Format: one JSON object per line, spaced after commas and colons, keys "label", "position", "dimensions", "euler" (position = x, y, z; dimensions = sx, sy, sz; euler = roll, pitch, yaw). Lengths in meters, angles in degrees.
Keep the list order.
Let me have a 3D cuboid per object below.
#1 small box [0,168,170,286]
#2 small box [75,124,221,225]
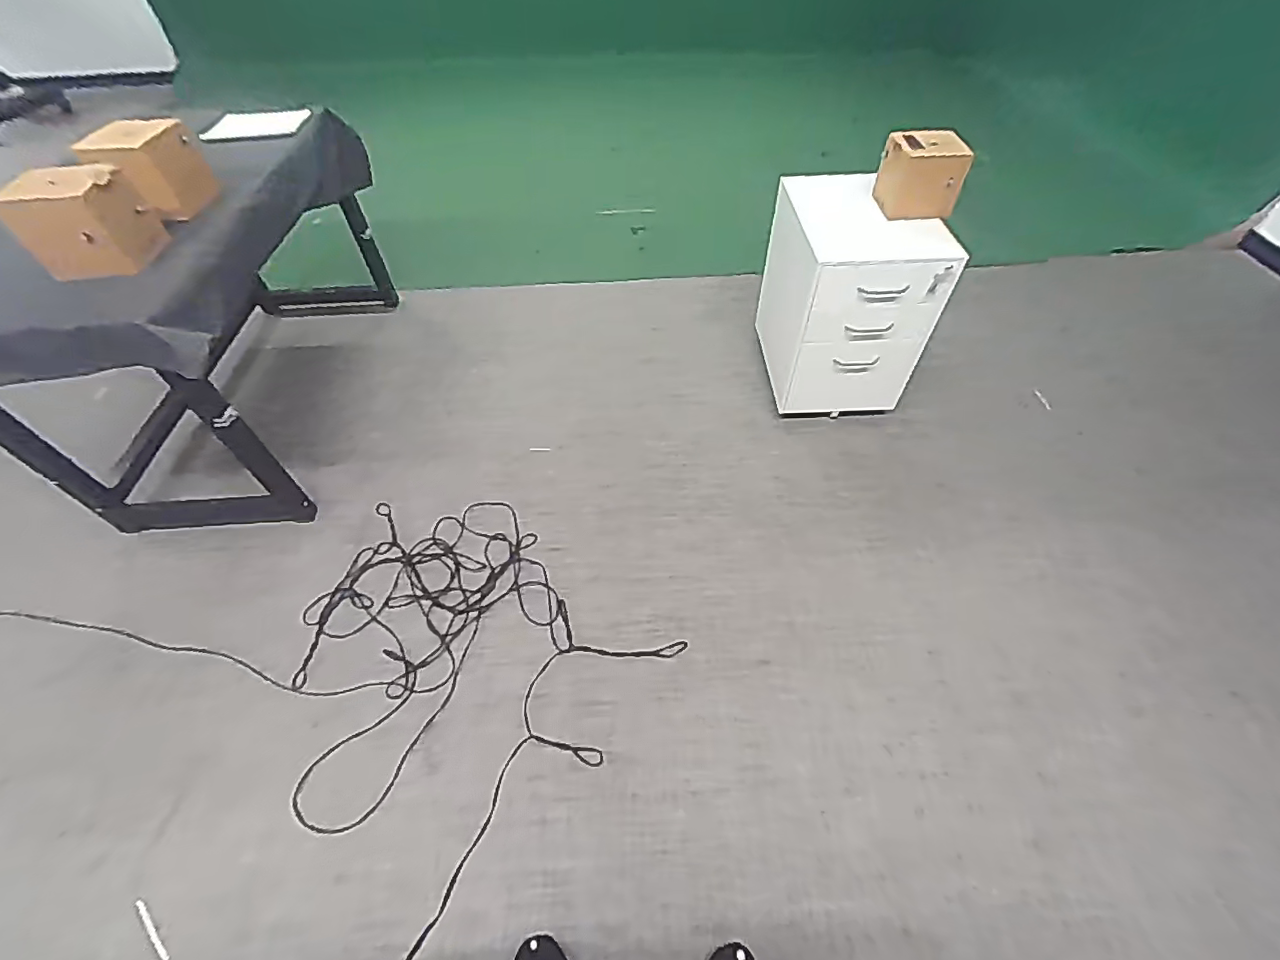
{"label": "small box", "position": [-1.175, -0.539, 1.157], "dimensions": [0.179, 0.176, 0.168], "euler": [-8, 50, -3]}
{"label": "small box", "position": [-1.182, -0.741, 1.320], "dimensions": [0.168, 0.176, 0.179], "euler": [-1, 51, 2]}
